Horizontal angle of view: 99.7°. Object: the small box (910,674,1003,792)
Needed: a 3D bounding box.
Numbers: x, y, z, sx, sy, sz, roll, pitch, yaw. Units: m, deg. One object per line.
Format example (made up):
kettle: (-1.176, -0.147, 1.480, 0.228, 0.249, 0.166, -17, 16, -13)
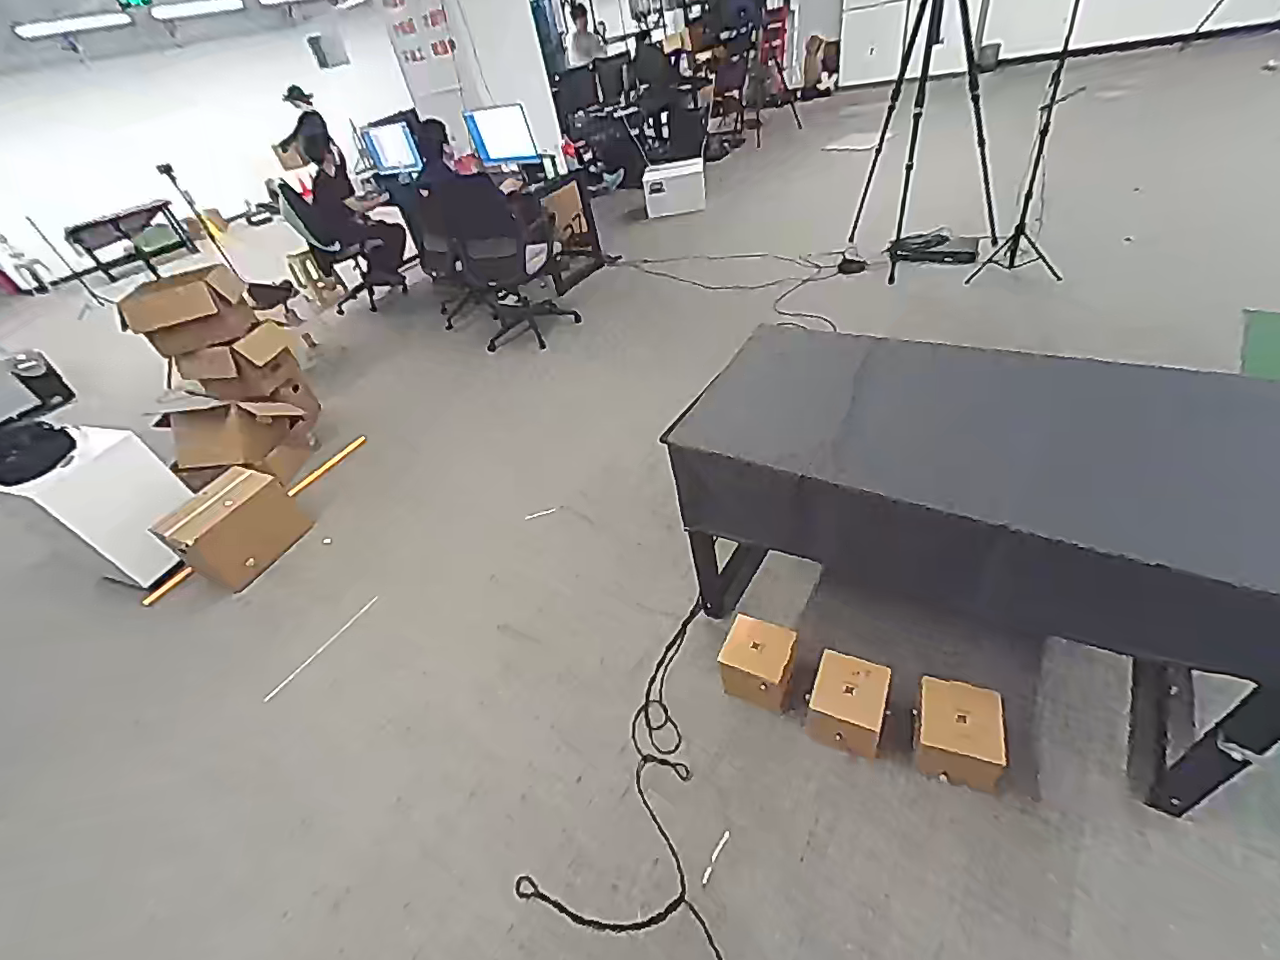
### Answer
small box: (0.749, 0.604, 1.294, 0.168, 0.176, 0.179, 7, 44, 23)
